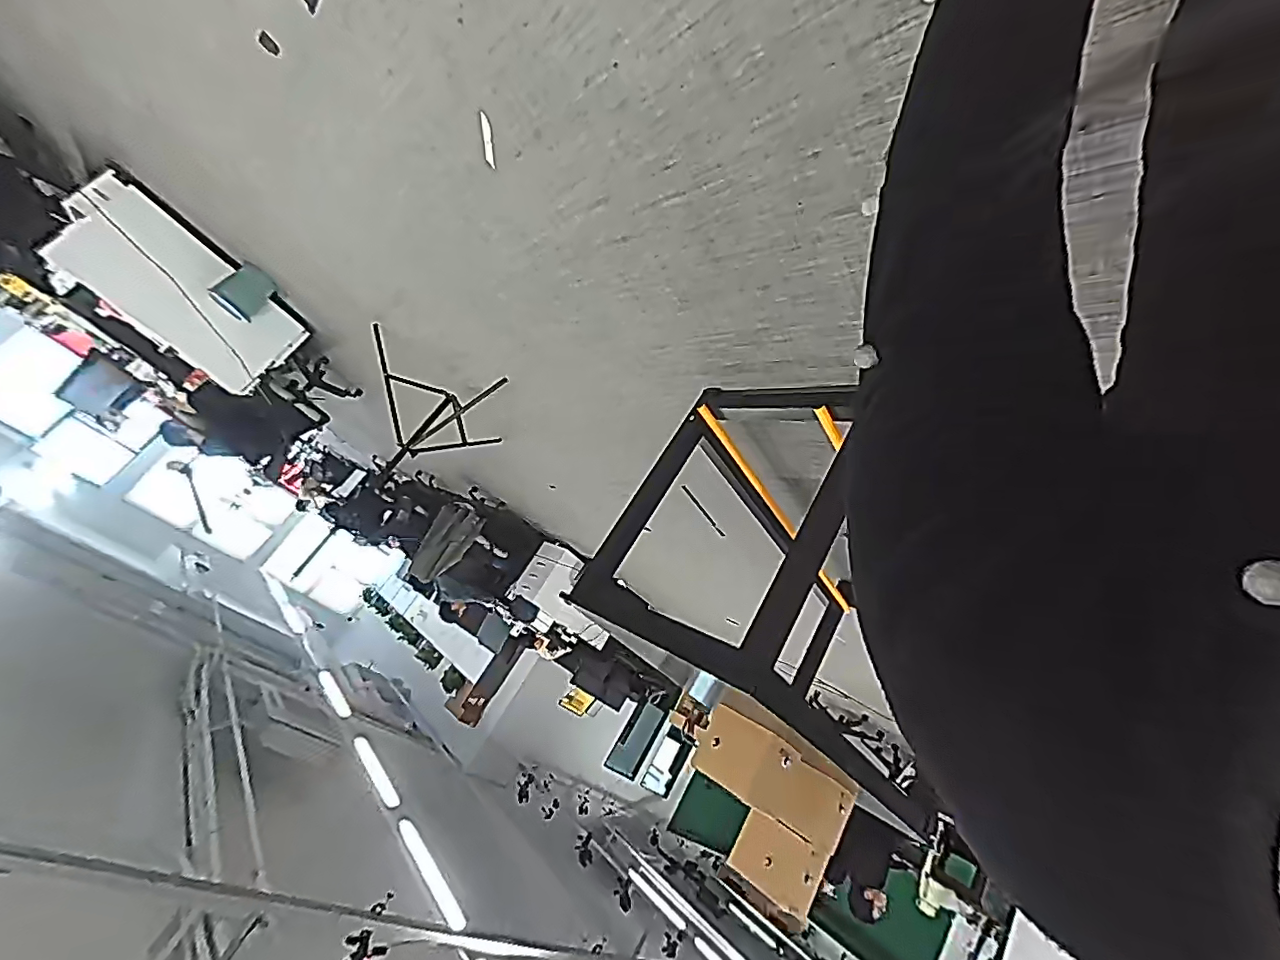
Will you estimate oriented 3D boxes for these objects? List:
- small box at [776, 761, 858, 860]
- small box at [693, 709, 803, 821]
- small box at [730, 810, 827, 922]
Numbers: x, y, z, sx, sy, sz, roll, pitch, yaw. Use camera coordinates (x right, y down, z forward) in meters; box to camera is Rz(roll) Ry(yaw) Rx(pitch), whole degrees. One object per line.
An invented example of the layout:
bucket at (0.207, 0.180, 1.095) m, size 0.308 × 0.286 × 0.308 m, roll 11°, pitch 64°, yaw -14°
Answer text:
small box at (0.472, 0.903, 1.502) m, size 0.179 × 0.176 × 0.168 m, roll 11°, pitch 150°, yaw 48°
small box at (0.269, 0.691, 1.332) m, size 0.179 × 0.176 × 0.168 m, roll 8°, pitch 149°, yaw 50°
small box at (0.381, 1.031, 1.456) m, size 0.179 × 0.176 × 0.168 m, roll 8°, pitch 148°, yaw 51°
